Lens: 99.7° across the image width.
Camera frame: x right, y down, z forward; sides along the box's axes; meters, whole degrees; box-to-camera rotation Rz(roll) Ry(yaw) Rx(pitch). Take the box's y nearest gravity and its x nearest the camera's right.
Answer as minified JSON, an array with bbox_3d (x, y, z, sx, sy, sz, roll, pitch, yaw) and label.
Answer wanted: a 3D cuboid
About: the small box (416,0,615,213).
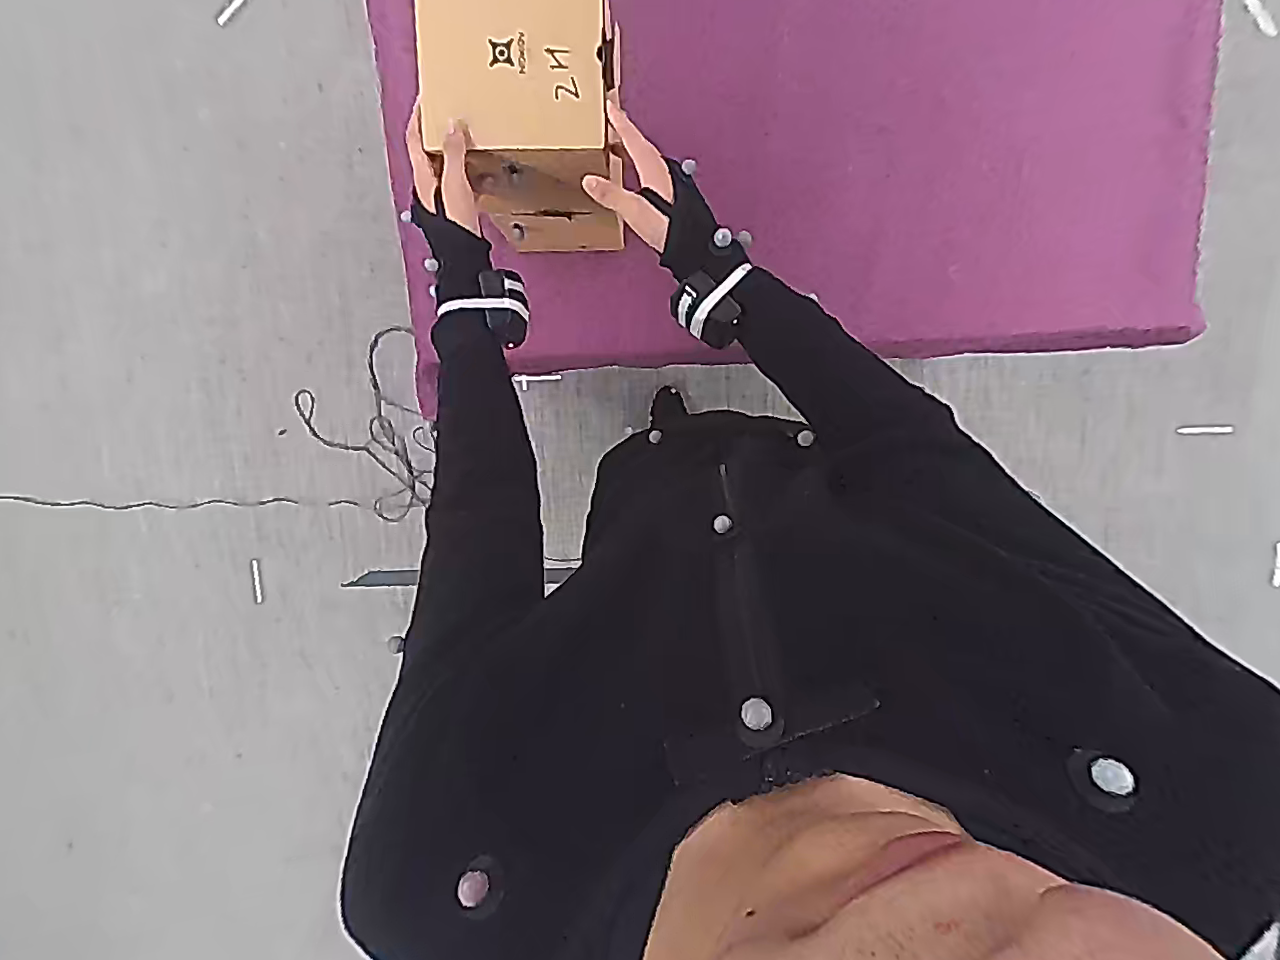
[{"bbox_3d":[-0.119,-0.400,0.581,0.179,0.176,0.168,0,98,0],"label":"small box"}]
